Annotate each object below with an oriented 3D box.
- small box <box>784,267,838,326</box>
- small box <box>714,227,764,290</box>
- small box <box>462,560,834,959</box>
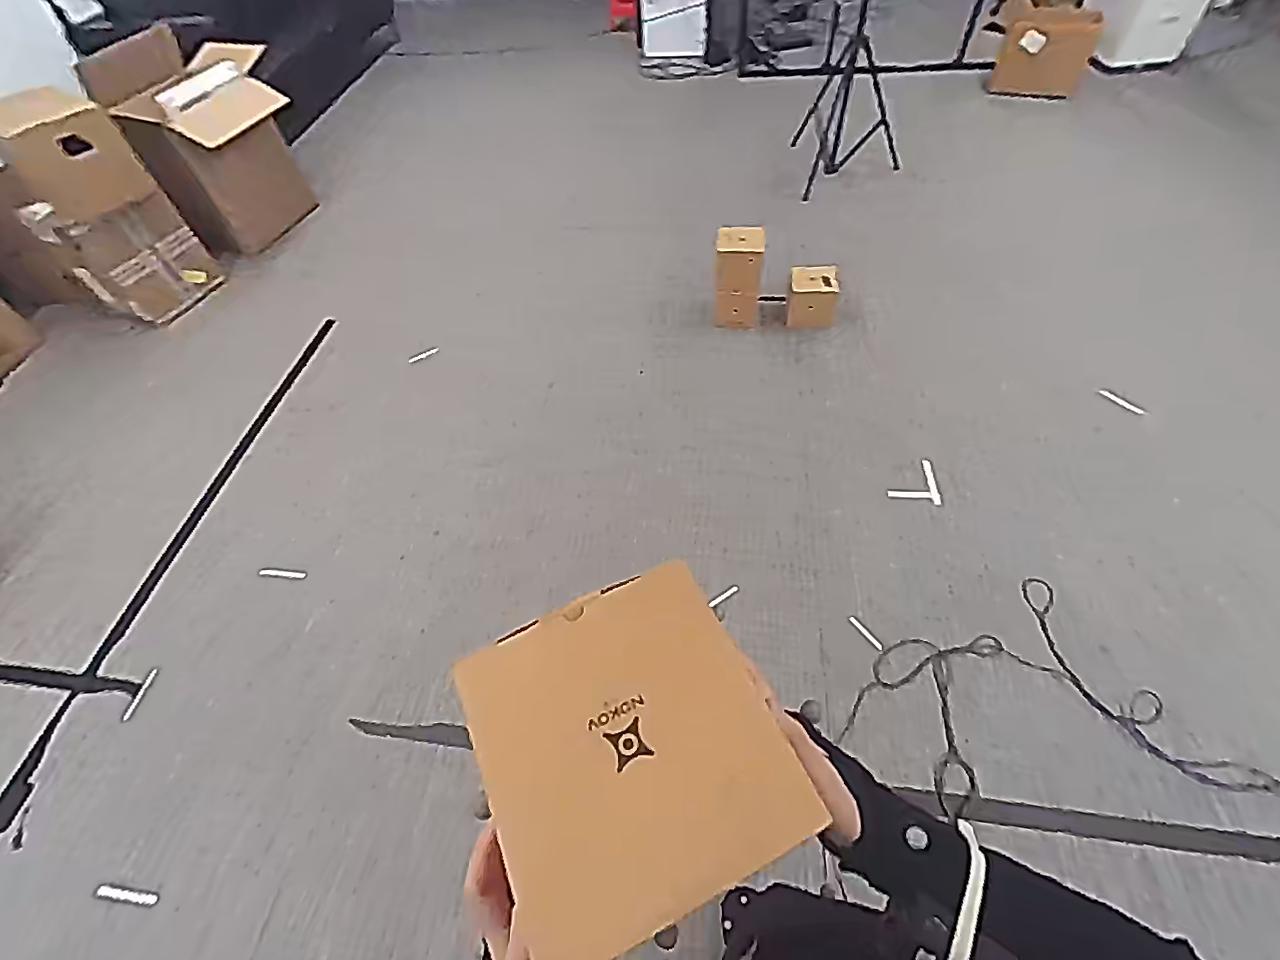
[{"bbox_3d":[0.683,-0.736,2.175,0.179,0.176,0.168,2,55,8],"label":"small box"},{"bbox_3d":[0.379,-0.847,2.078,0.179,0.176,0.168,3,54,8],"label":"small box"},{"bbox_3d":[0.000,0.192,0.379,0.168,0.176,0.179,-23,57,-12],"label":"small box"}]
